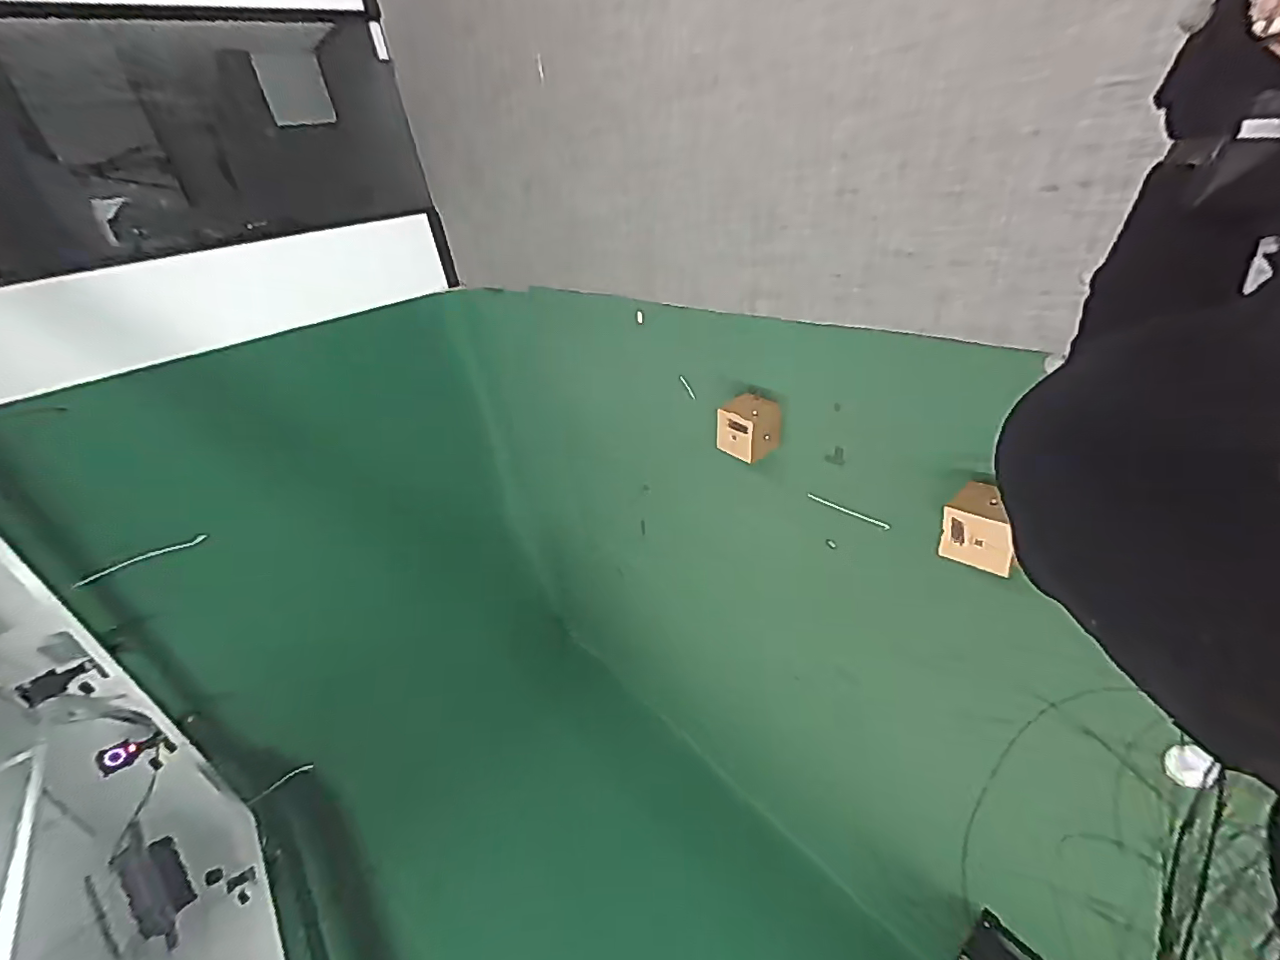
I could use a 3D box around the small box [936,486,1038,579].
[{"bbox_3d":[0.943,0.134,1.474,0.179,0.176,0.168,22,131,45],"label":"small box"}]
